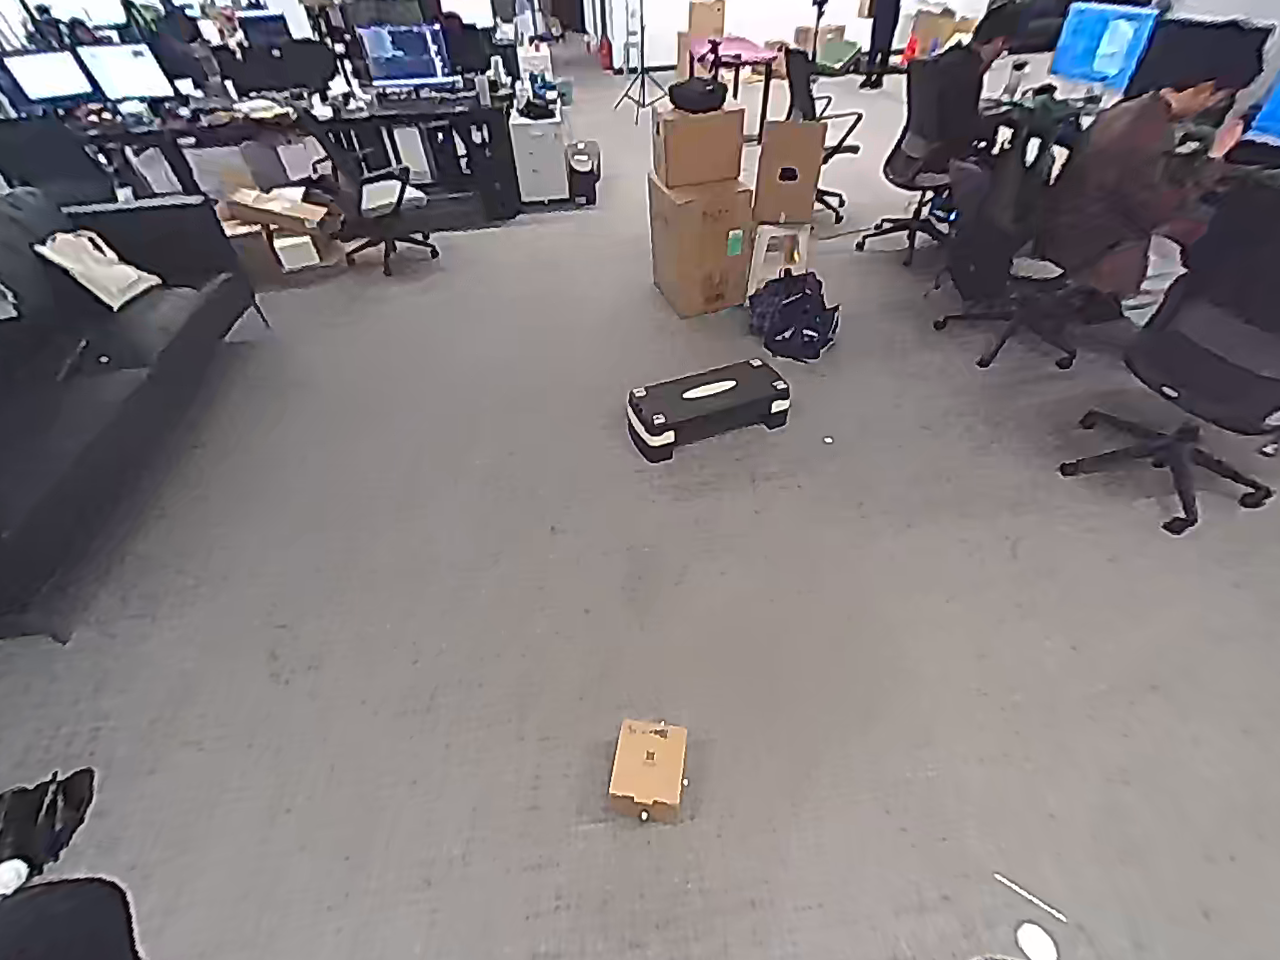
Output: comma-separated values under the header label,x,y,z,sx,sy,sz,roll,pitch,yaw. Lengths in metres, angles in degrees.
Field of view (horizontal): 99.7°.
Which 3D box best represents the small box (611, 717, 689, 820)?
label,x,y,z,sx,sy,sz,roll,pitch,yaw
small box,0.032,0.717,1.338,0.168,0.176,0.179,4,46,9
